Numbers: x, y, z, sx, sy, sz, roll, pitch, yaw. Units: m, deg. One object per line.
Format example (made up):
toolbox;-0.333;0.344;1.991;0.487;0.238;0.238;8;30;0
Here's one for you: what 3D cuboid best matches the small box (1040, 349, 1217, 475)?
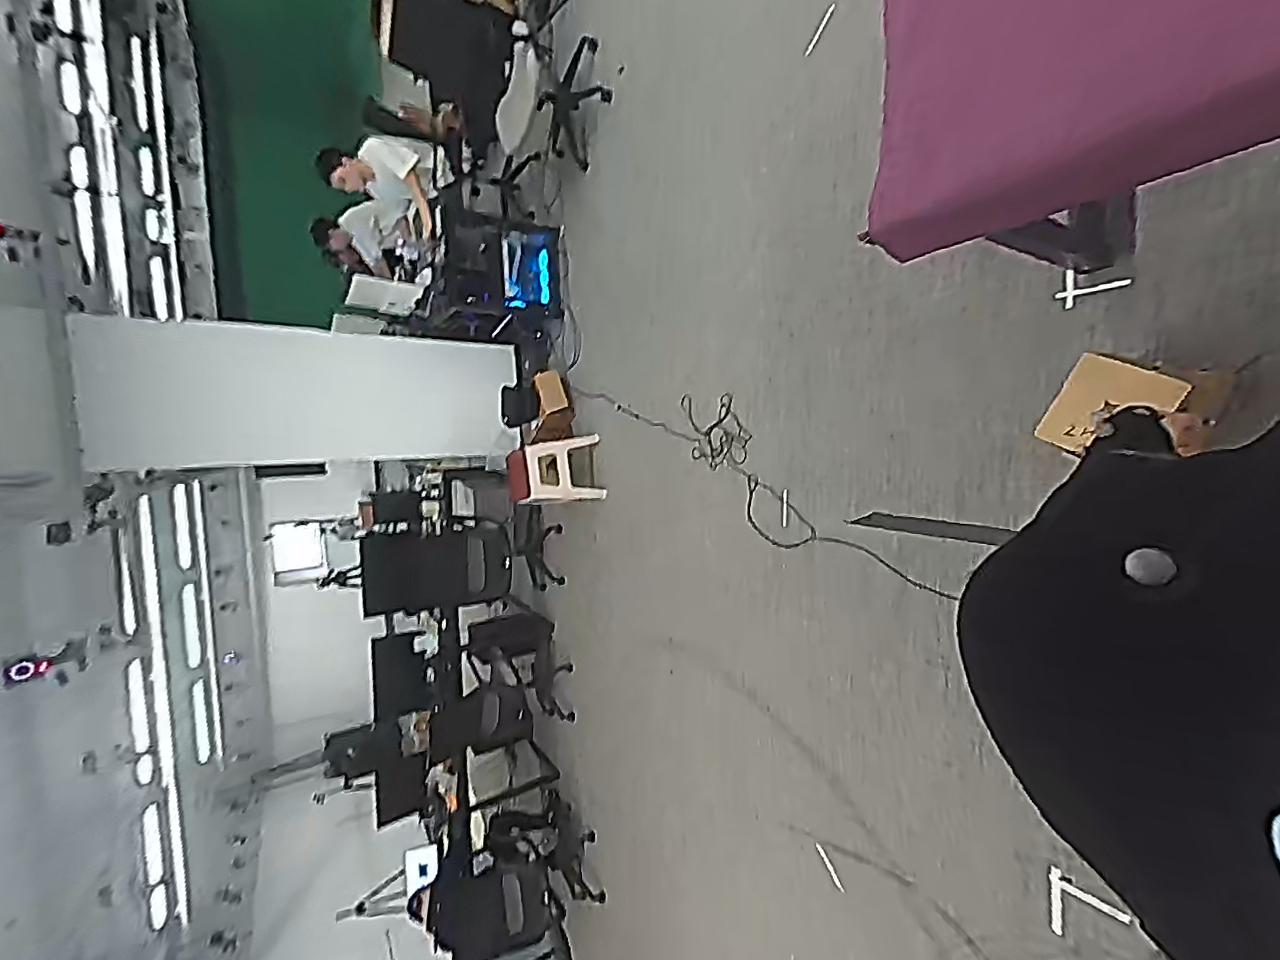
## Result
small box;0.901;-0.129;0.998;0.168;0.176;0.179;45;132;45
